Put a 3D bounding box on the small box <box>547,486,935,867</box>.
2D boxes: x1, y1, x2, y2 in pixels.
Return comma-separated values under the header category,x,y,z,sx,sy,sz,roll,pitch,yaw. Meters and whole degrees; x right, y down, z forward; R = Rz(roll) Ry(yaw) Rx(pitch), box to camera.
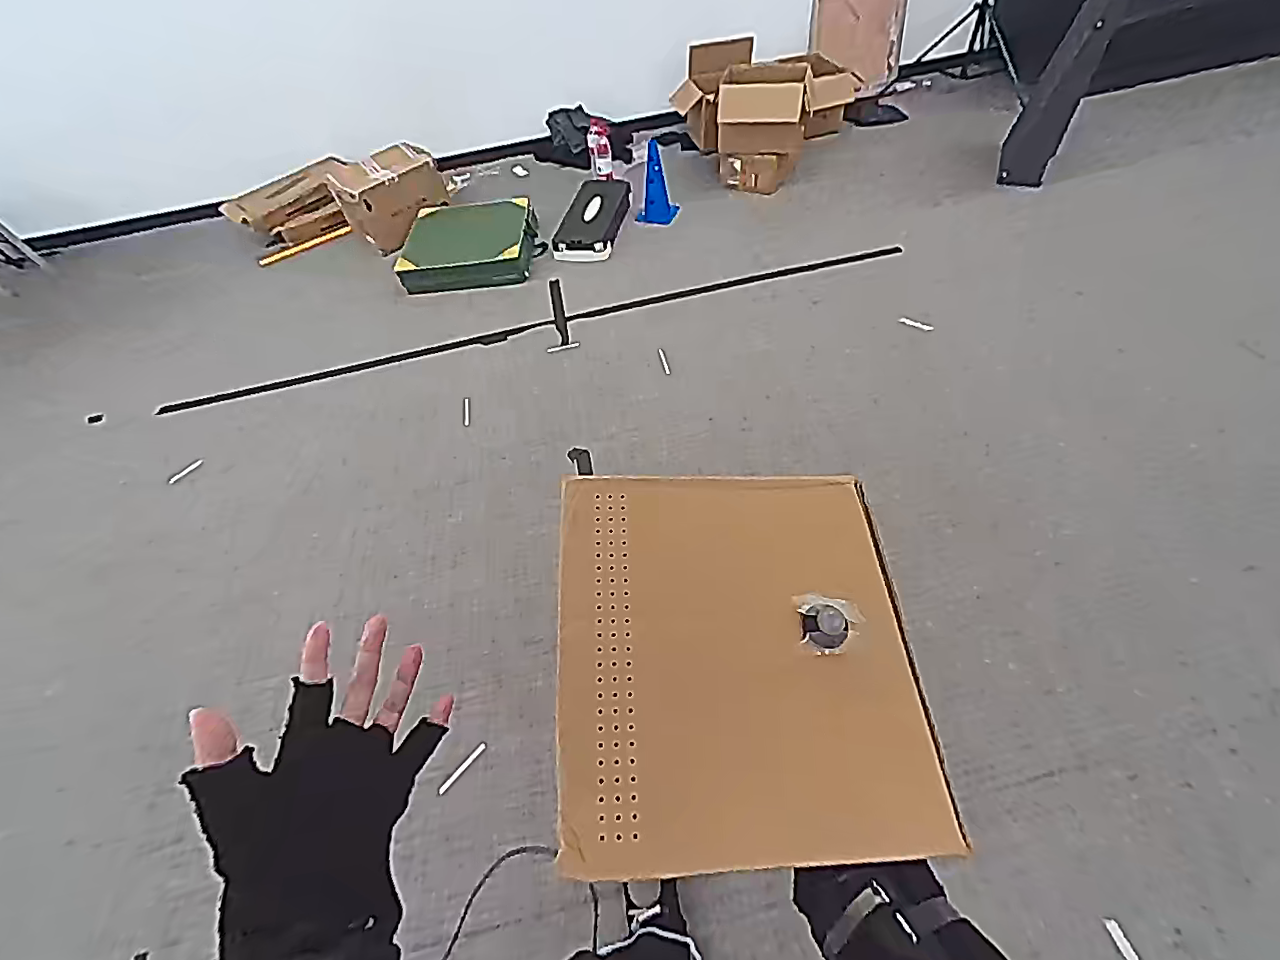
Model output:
category,x,y,z,sx,sy,sz,roll,pitch,yaw
small box,0.032,0.117,0.330,0.176,0.168,0.179,0,60,-5
